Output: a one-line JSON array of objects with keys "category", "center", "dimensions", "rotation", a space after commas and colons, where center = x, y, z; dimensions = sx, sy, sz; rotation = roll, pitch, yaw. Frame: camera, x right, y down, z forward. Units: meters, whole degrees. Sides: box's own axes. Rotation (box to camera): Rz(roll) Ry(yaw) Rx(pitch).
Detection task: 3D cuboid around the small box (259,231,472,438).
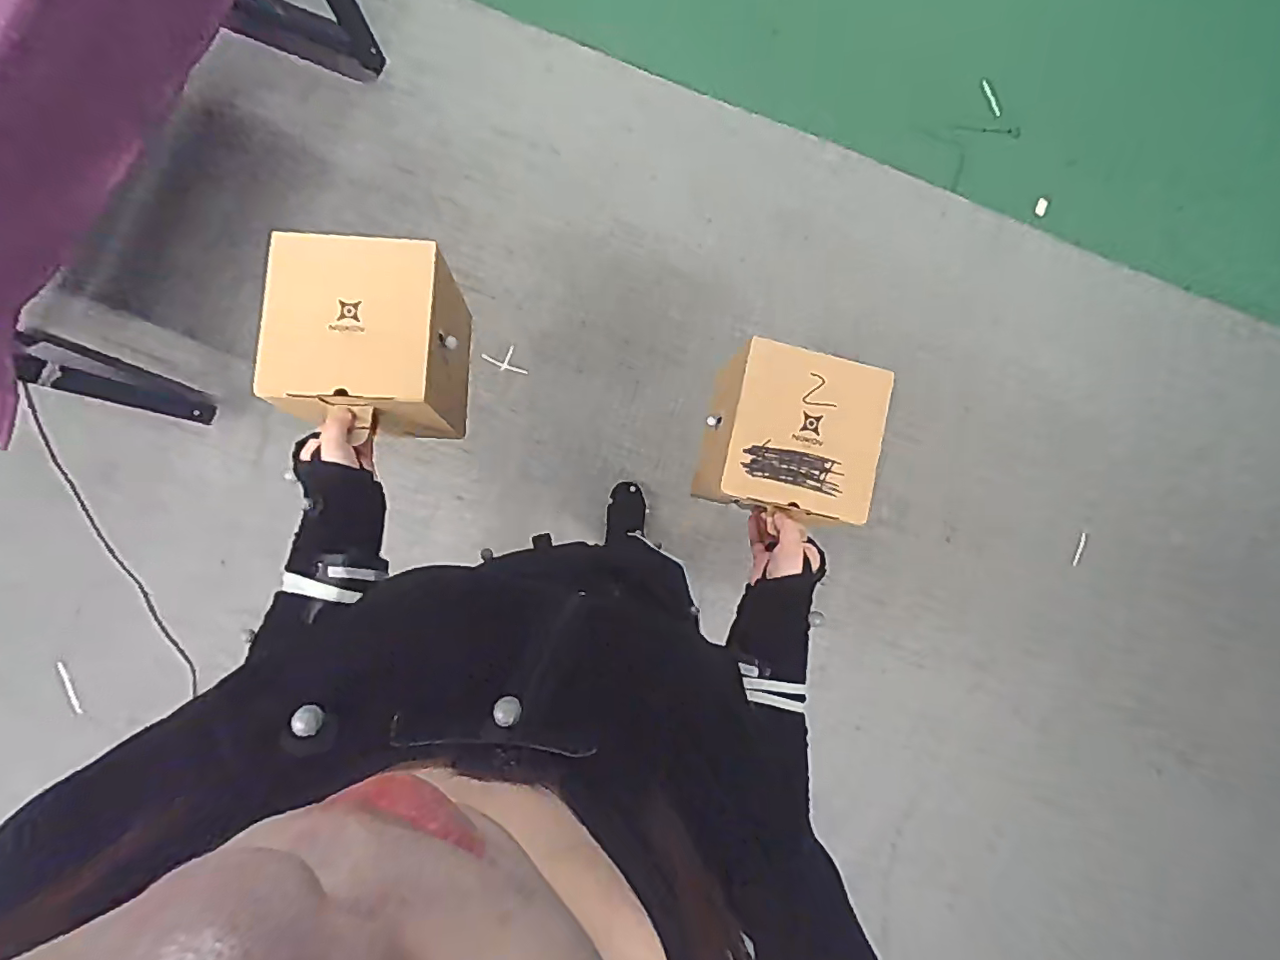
[{"category": "small box", "center": [-0.297, -0.155, 0.624], "dimensions": [0.168, 0.176, 0.179], "rotation": [2, 82, -5]}]
